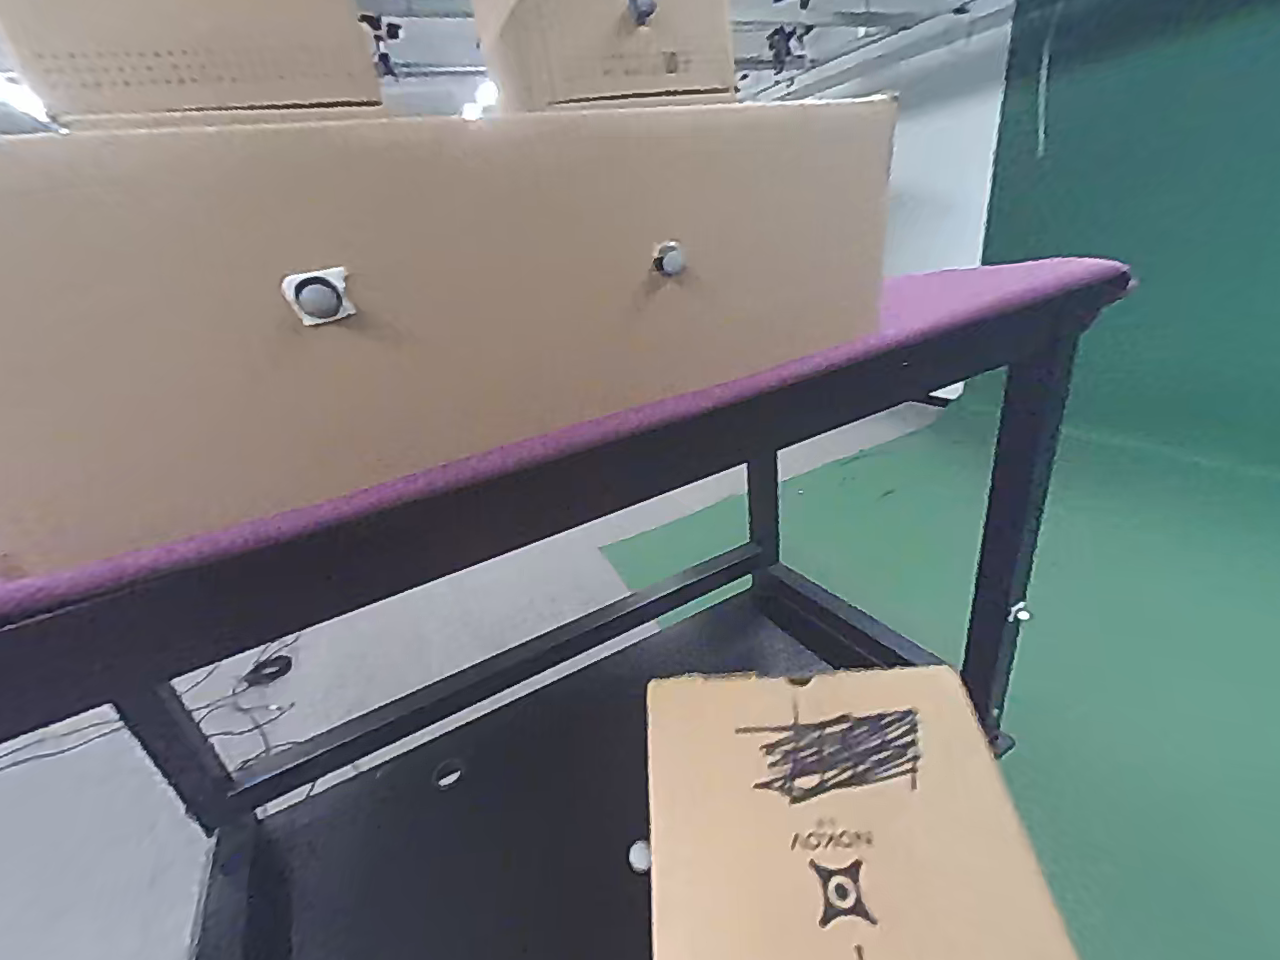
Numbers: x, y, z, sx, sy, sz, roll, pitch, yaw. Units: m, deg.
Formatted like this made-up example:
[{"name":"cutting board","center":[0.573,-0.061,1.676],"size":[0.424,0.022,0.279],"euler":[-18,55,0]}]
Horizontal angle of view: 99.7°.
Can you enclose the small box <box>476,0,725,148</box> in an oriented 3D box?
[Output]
[{"name":"small box","center":[-0.043,-0.408,0.476],"size":[0.168,0.176,0.179],"euler":[-20,27,-20]}]

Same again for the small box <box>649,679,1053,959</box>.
[{"name":"small box","center":[0.092,0.230,0.299],"size":[0.168,0.176,0.179],"euler":[-4,47,5]}]
